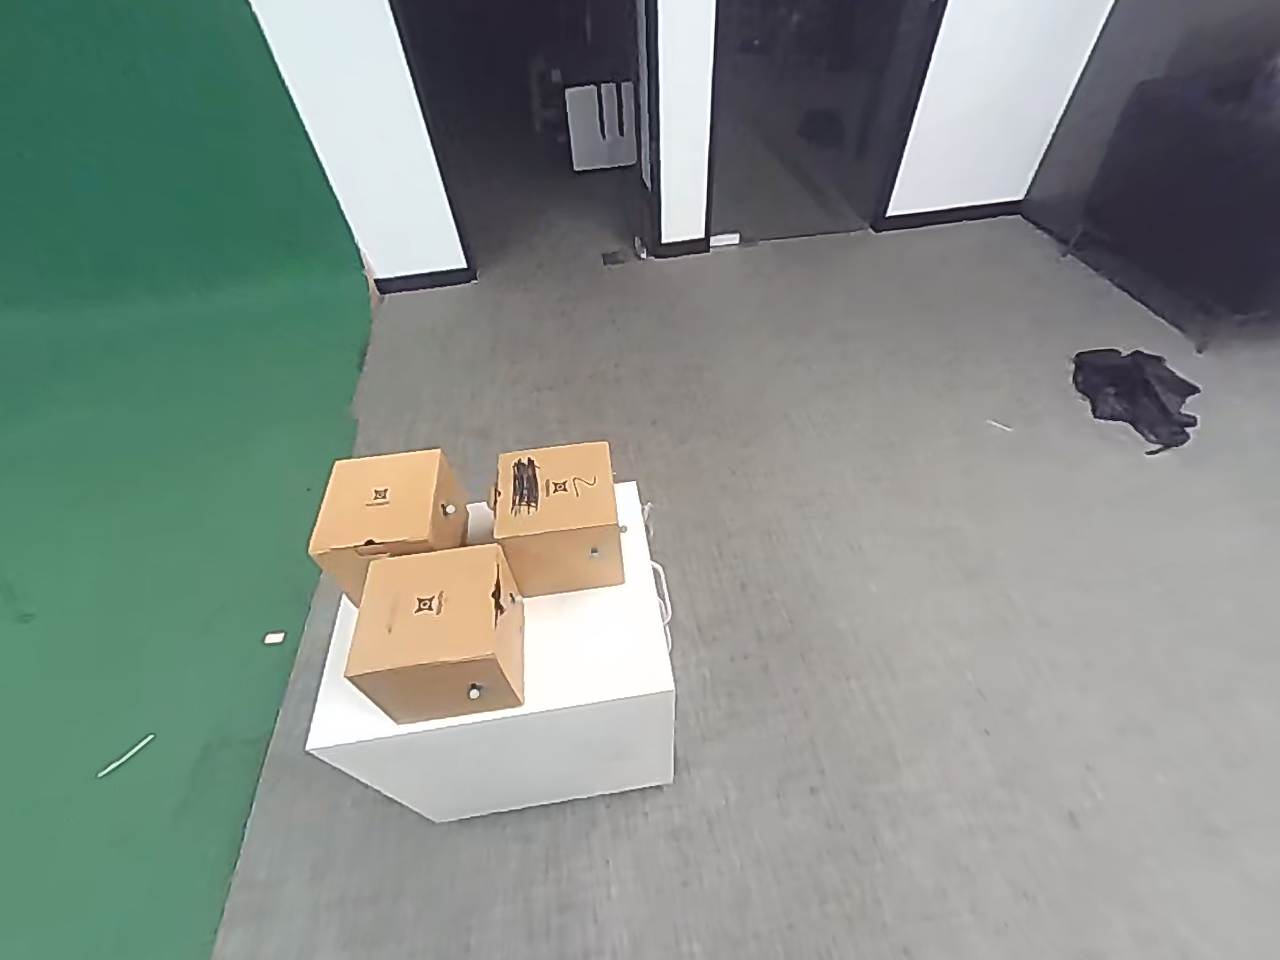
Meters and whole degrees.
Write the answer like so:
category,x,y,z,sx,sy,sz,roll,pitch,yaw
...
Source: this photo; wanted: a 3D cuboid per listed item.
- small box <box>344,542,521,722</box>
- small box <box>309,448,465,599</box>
category,x,y,z,sx,sy,sz,roll,pitch,yaw
small box,-0.262,0.208,0.734,0.179,0.176,0.168,-8,47,-4
small box,-0.382,0.074,0.856,0.168,0.176,0.179,-7,50,-5
